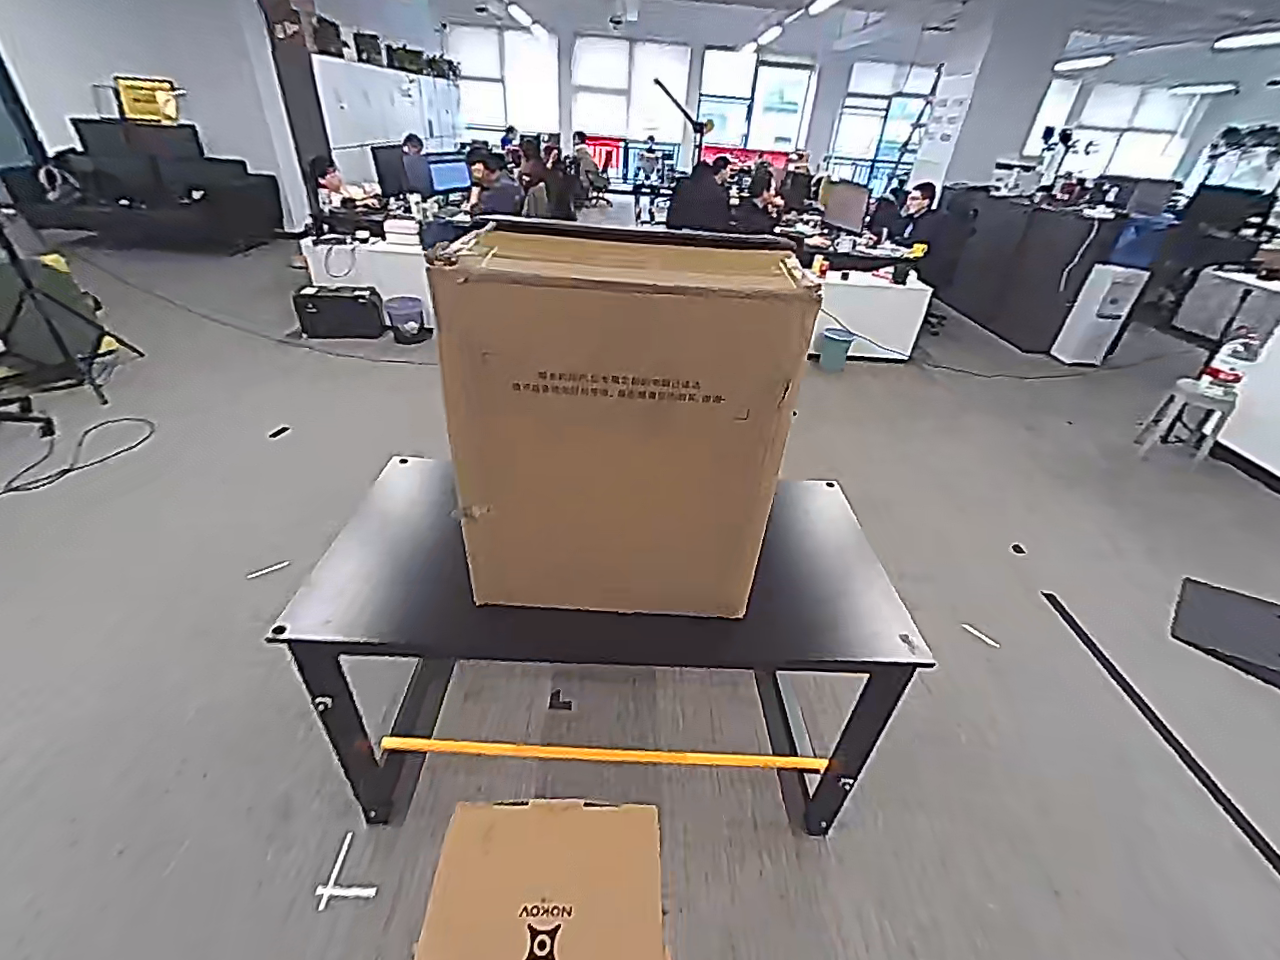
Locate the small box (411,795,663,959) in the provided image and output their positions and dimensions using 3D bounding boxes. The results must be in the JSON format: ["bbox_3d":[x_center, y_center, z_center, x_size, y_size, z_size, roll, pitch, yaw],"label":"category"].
[{"bbox_3d":[-0.072,0.372,0.409,0.168,0.176,0.179,2,34,-2],"label":"small box"}]
